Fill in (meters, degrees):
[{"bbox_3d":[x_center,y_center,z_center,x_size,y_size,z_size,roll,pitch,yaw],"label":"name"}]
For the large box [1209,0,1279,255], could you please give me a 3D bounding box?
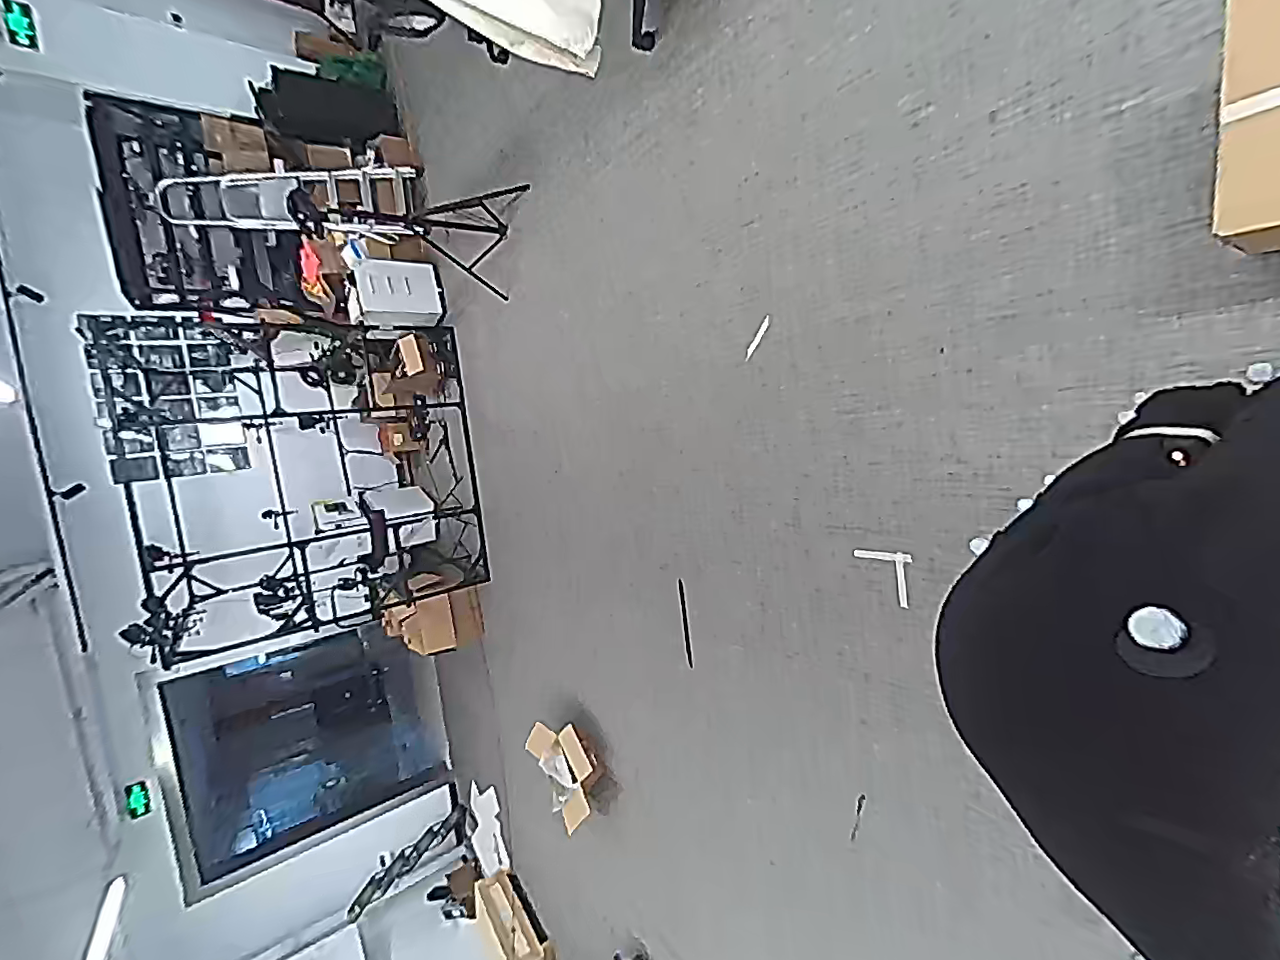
[{"bbox_3d":[1.013,-0.502,0.664,0.408,0.320,0.320,5,104,53],"label":"large box"}]
